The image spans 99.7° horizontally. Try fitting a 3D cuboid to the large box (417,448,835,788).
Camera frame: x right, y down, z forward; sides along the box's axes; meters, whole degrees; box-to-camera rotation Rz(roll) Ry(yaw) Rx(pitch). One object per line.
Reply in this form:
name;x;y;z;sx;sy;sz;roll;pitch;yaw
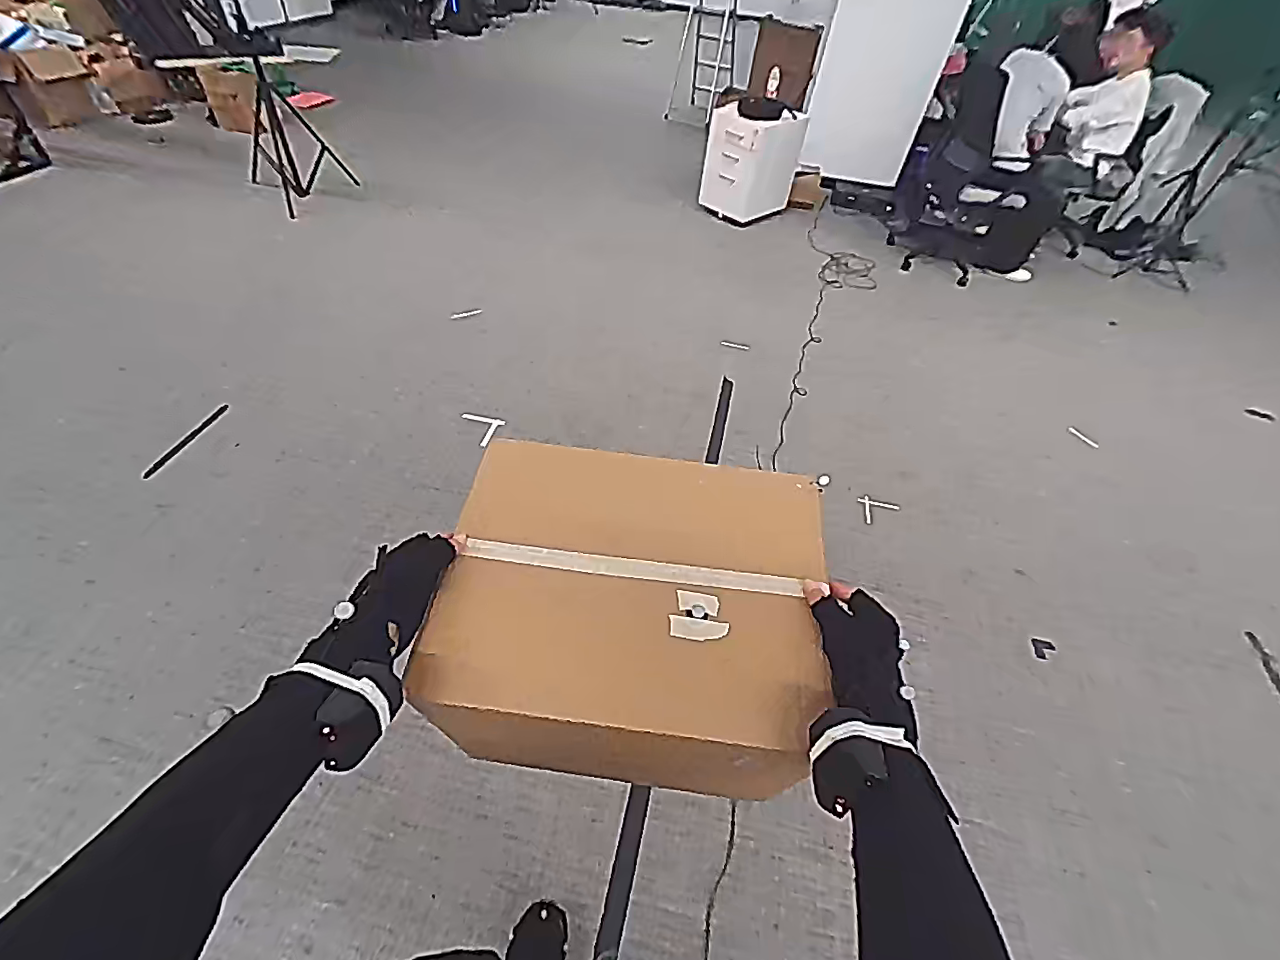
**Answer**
large box;-0.009;0.189;0.710;0.408;0.320;0.320;7;54;2
